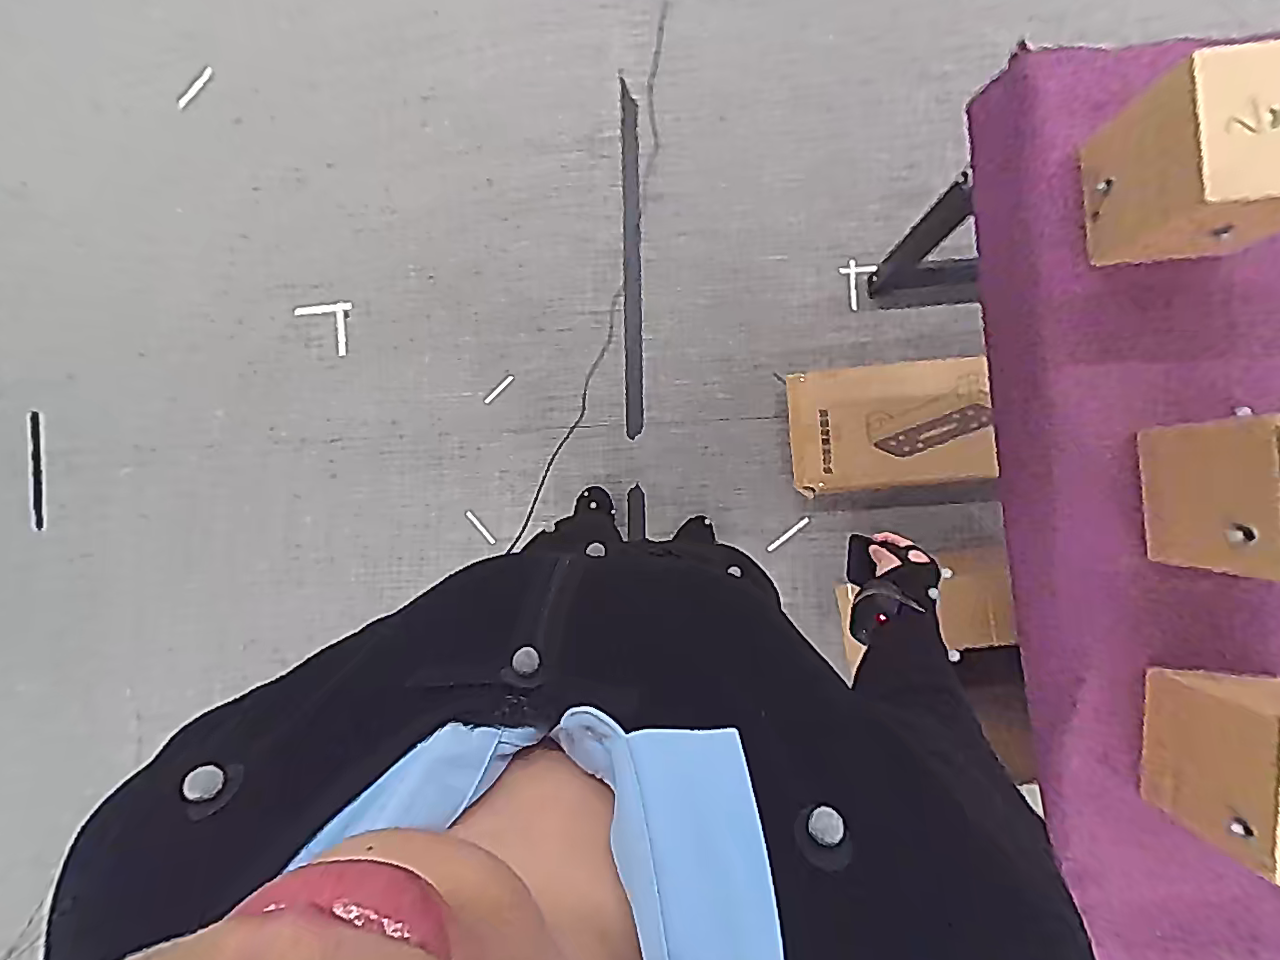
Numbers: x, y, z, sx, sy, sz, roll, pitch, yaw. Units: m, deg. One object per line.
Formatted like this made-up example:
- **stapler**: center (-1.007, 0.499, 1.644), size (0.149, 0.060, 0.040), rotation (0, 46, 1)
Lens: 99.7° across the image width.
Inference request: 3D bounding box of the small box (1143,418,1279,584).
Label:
- **small box**: center (0.742, 0.018, 0.627), size (0.168, 0.176, 0.179), rotation (-4, 89, 2)

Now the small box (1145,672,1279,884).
- **small box**: center (0.740, 0.337, 0.624), size (0.168, 0.176, 0.179), rotation (3, 90, 4)
